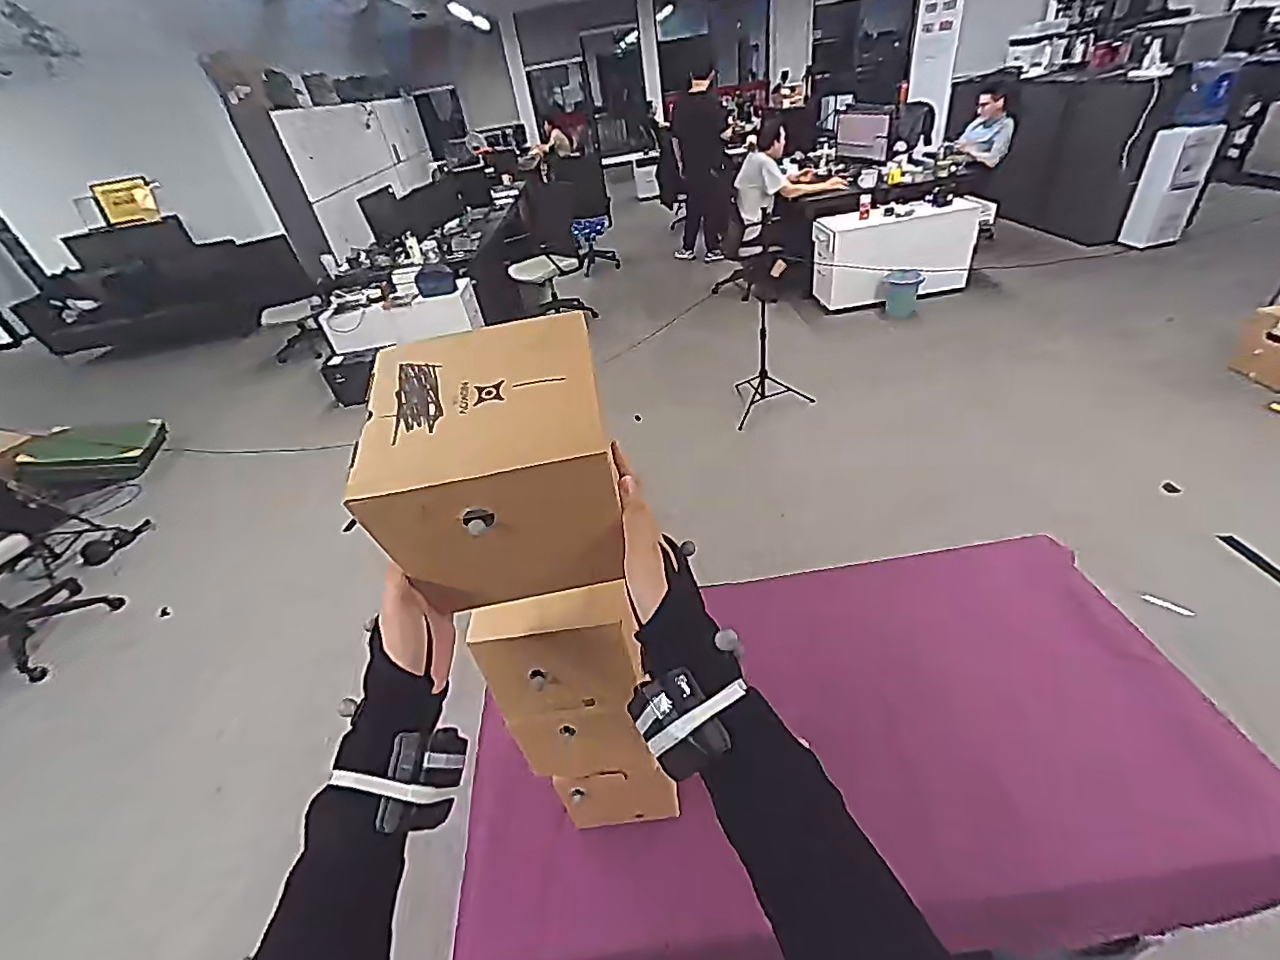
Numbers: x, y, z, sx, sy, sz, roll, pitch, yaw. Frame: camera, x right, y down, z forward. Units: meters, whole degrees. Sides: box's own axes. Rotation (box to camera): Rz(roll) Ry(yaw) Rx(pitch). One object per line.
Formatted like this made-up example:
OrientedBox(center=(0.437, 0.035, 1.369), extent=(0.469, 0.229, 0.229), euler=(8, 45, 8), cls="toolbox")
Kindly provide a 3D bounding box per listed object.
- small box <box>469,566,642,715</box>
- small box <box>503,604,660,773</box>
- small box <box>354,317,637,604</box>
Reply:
OrientedBox(center=(-0.091, 0.172, 0.673), extent=(0.168, 0.176, 0.179), euler=(-8, 36, 2), cls="small box")
OrientedBox(center=(-0.071, 0.298, 0.773), extent=(0.179, 0.176, 0.168), euler=(-4, 37, 8), cls="small box")
OrientedBox(center=(-0.107, -0.010, 0.467), extent=(0.179, 0.176, 0.168), euler=(-10, 51, -1), cls="small box")
